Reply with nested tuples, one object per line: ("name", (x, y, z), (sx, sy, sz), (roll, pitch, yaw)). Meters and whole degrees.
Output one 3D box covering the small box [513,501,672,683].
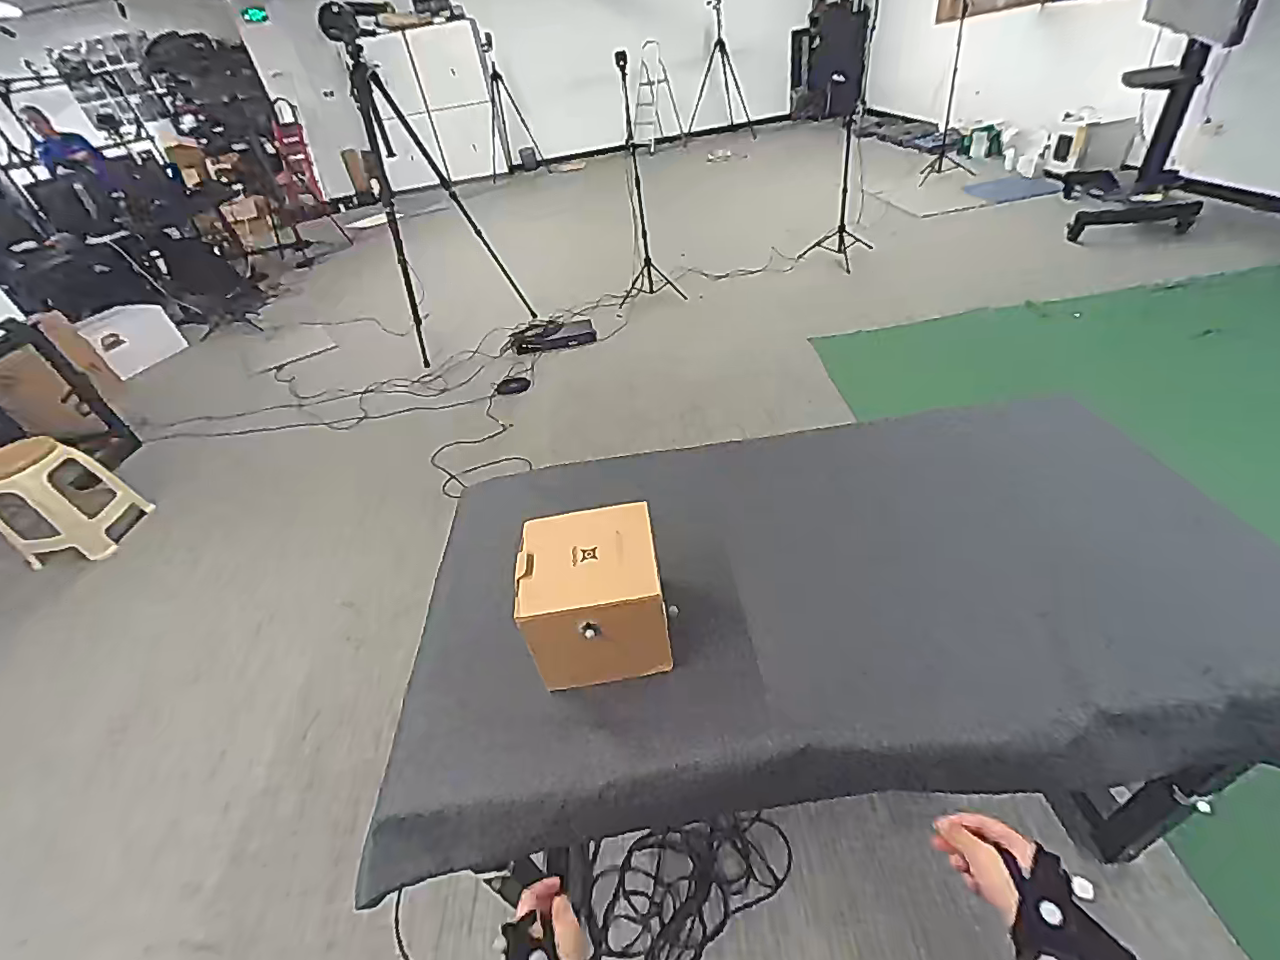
("small box", (-0.059, 0.155, 0.738), (0.179, 0.176, 0.168), (-9, 40, 0))
